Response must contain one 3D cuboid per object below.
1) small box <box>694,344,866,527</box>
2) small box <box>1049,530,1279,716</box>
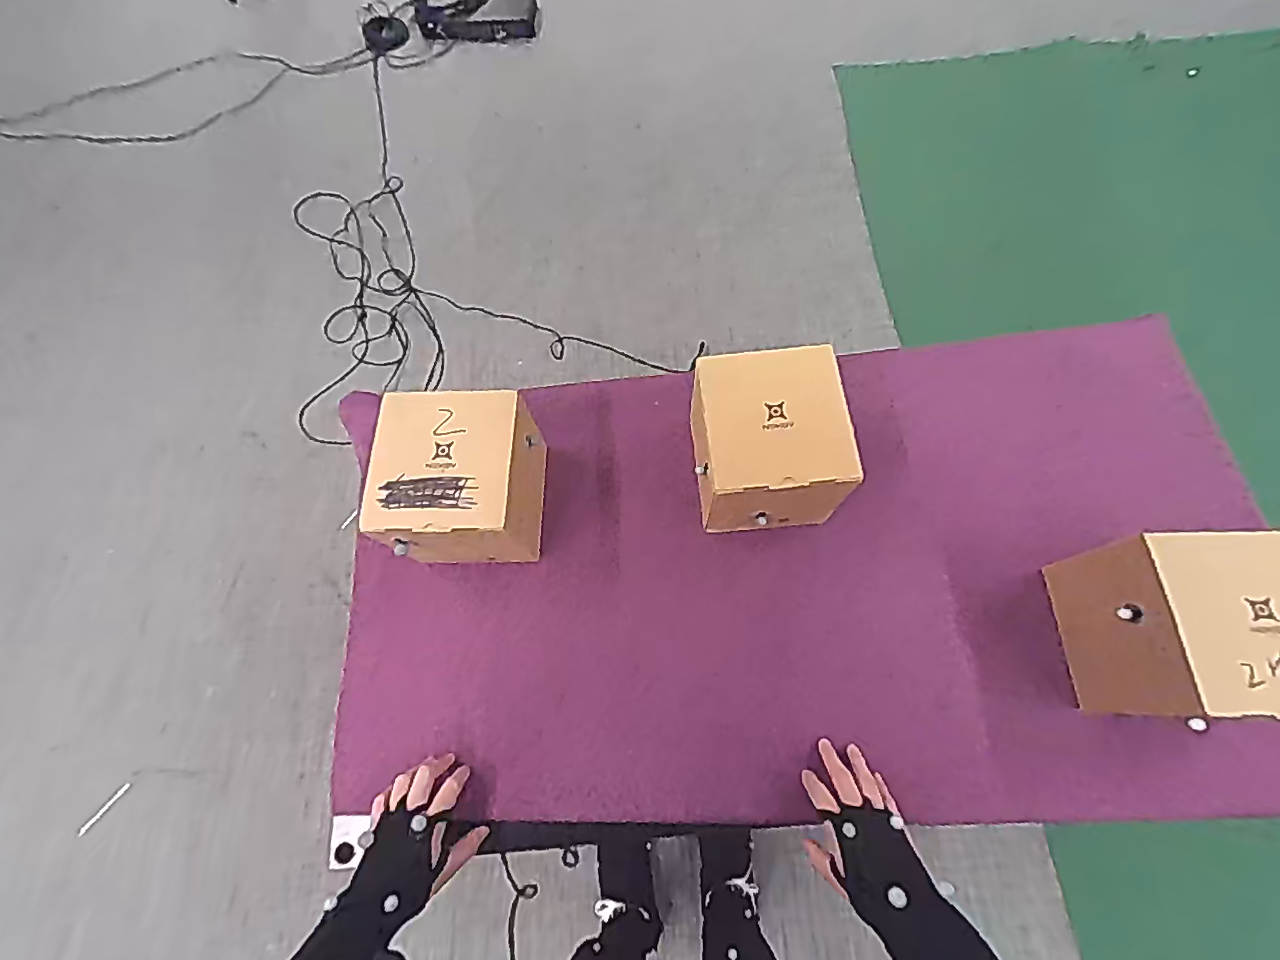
[{"bbox_3d":[0.163,-0.049,0.693,0.168,0.176,0.179,-5,71,0],"label":"small box"},{"bbox_3d":[0.597,0.161,0.593,0.168,0.176,0.179,0,70,4],"label":"small box"}]
